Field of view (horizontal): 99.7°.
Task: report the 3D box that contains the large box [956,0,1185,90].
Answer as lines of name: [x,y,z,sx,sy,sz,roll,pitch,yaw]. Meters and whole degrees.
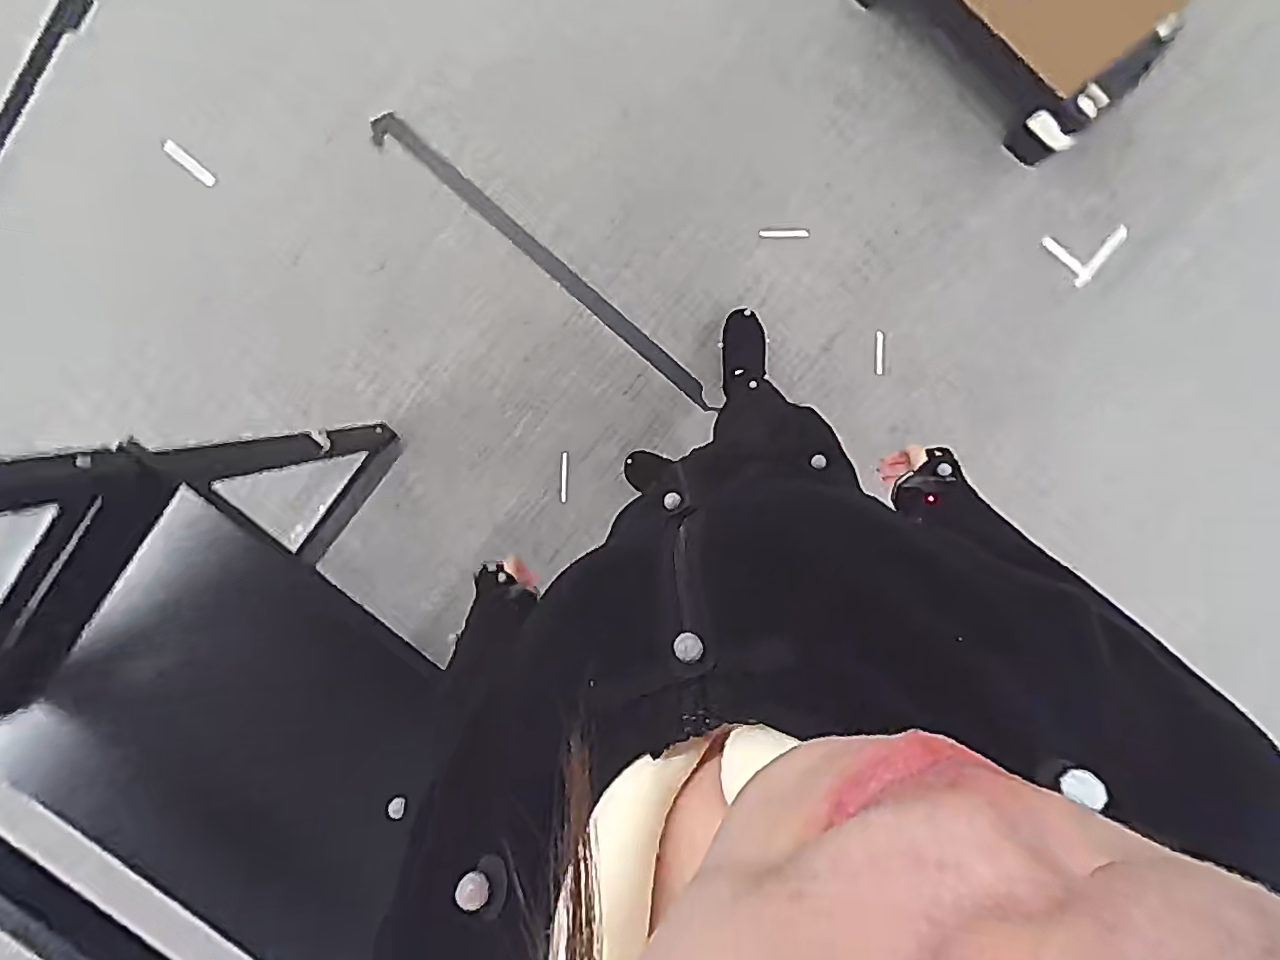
large box: [0.827,-1.029,0.963,0.408,0.320,0.320,40,98,-2]

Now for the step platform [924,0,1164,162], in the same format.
step platform: [0.784,-1.084,1.199,0.286,0.204,0.684,-44,94,8]
